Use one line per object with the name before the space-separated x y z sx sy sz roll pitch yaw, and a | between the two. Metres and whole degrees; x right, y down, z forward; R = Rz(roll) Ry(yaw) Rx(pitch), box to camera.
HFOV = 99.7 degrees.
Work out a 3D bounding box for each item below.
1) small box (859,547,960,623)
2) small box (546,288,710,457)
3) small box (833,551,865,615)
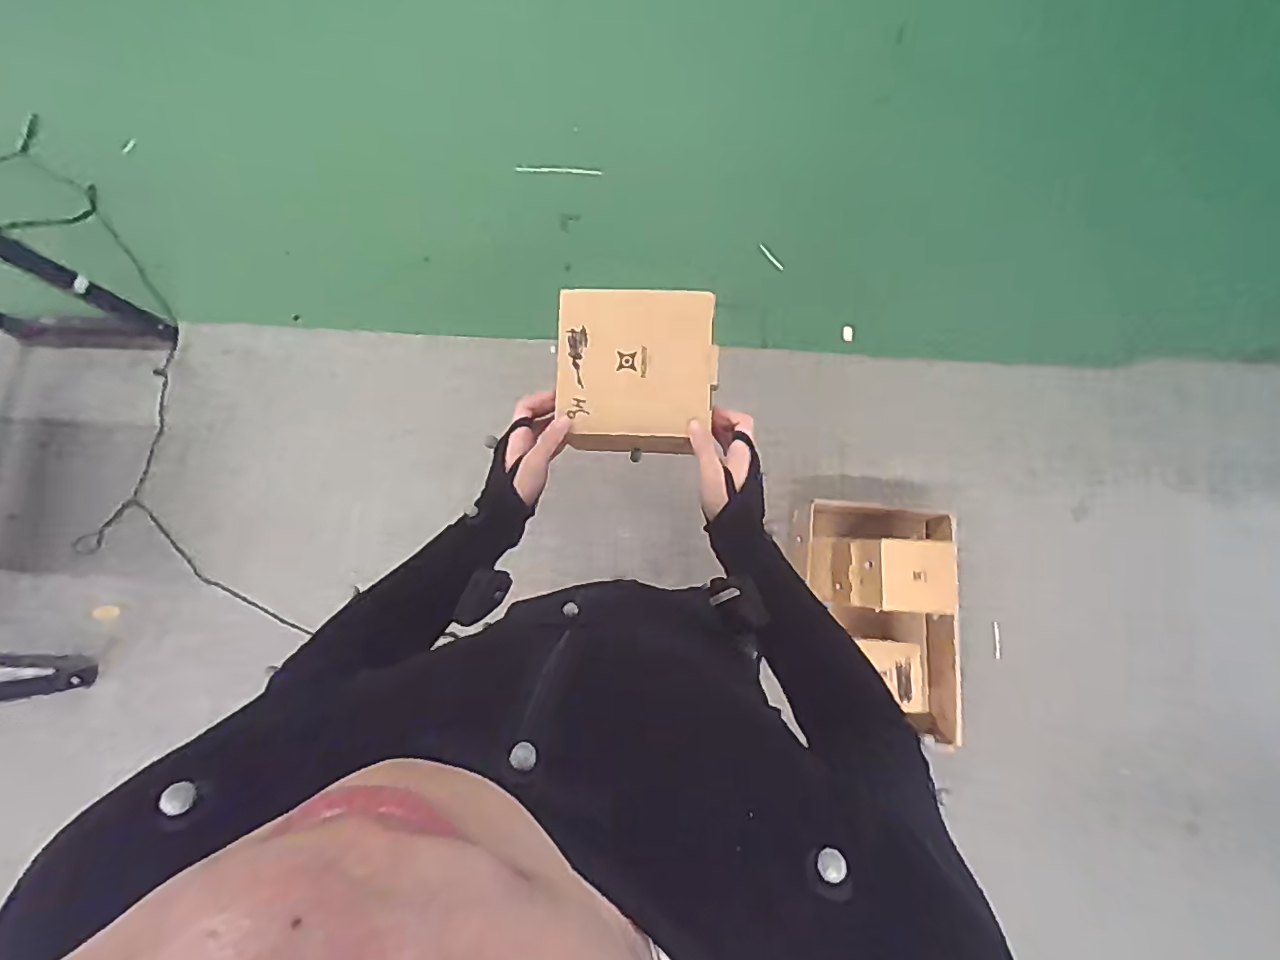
small box | 0.651 0.257 1.328 0.179 0.176 0.168 3 80 2
small box | -0.012 -0.122 0.672 0.179 0.176 0.168 2 85 1
small box | 0.642 0.288 1.487 0.179 0.176 0.168 4 80 2
